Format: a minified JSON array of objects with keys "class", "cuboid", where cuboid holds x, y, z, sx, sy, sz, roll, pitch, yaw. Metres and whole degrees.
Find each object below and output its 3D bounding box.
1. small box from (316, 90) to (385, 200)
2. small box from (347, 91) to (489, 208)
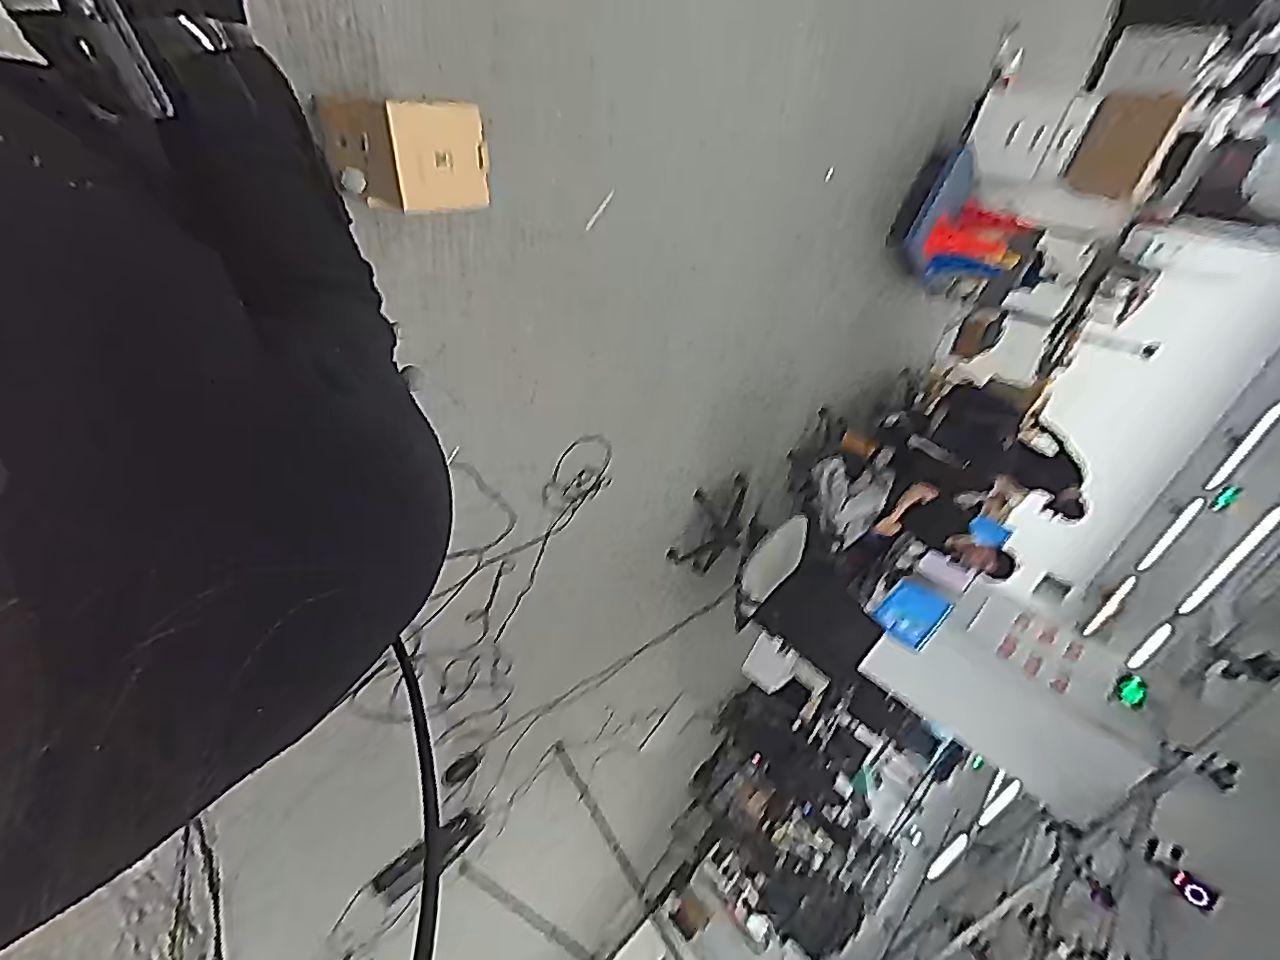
[{"class":"small box","cuboid":[-0.527,-0.684,1.101,0.168,0.176,0.179,-28,137,-35]},{"class":"small box","cuboid":[-0.409,-0.618,1.007,0.179,0.176,0.168,-28,136,-35]}]
